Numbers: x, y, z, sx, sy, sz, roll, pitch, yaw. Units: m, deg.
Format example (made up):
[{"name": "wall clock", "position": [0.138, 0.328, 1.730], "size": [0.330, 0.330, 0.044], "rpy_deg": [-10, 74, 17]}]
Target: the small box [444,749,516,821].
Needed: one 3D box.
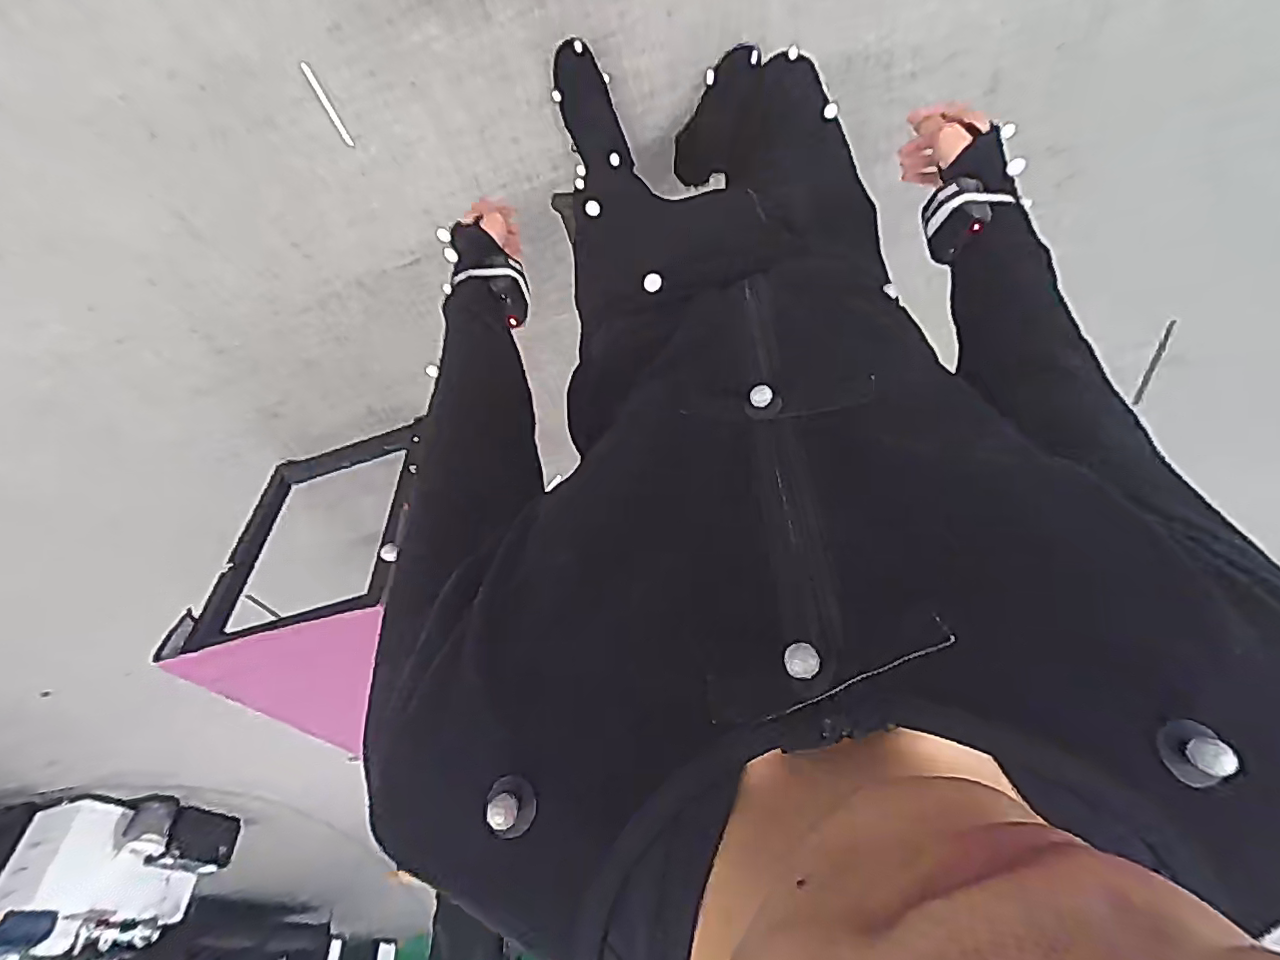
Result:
[{"name": "small box", "position": [-0.544, 1.044, 1.854], "size": [0.179, 0.176, 0.168], "rpy_deg": [-24, 133, 15]}]
